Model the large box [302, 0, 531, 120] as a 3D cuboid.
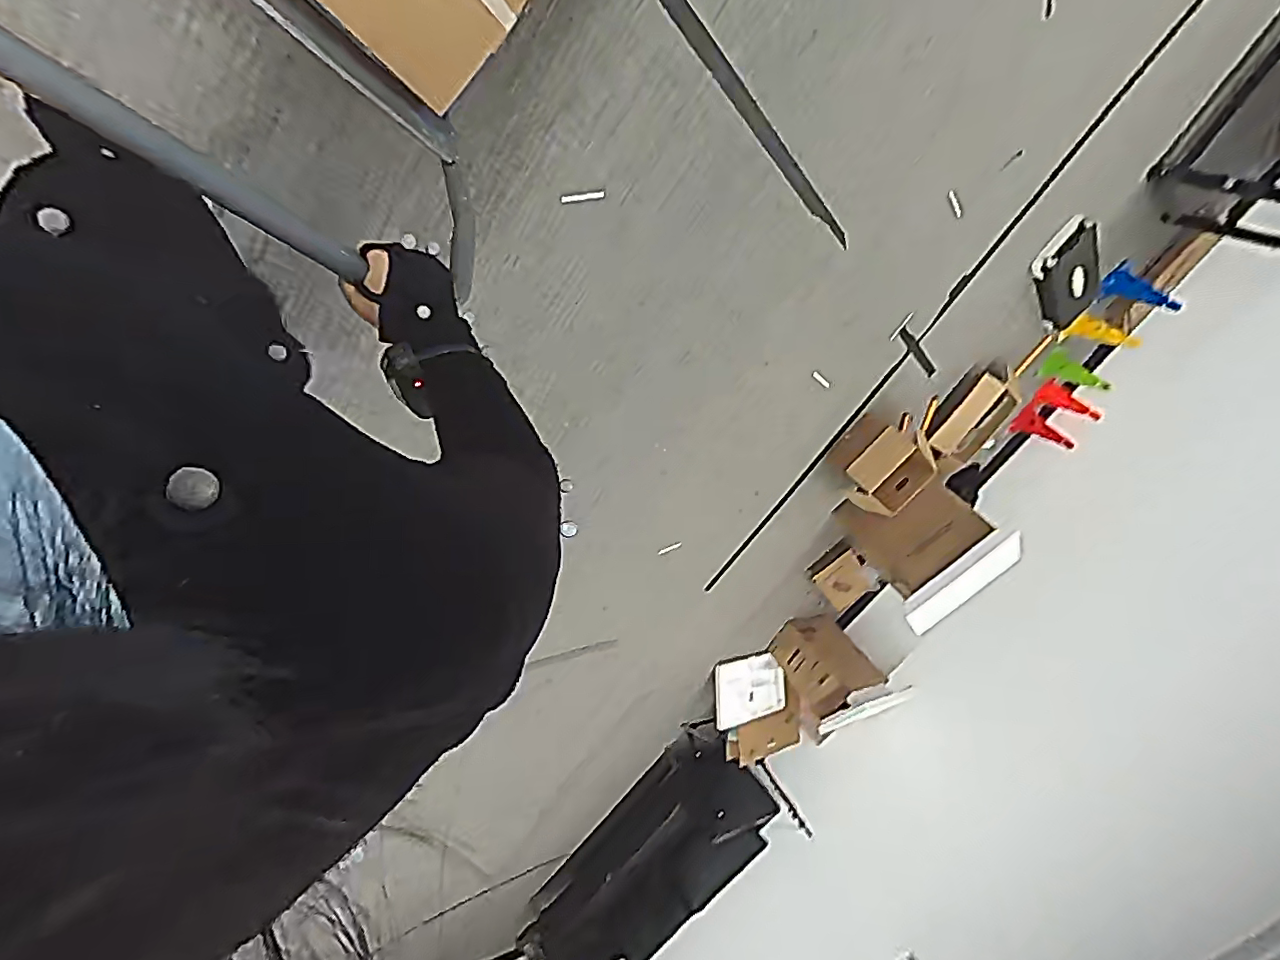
[{"bbox_3d":[-0.349,-0.773,0.660,0.320,0.320,0.408,-37,144,19],"label":"large box"}]
